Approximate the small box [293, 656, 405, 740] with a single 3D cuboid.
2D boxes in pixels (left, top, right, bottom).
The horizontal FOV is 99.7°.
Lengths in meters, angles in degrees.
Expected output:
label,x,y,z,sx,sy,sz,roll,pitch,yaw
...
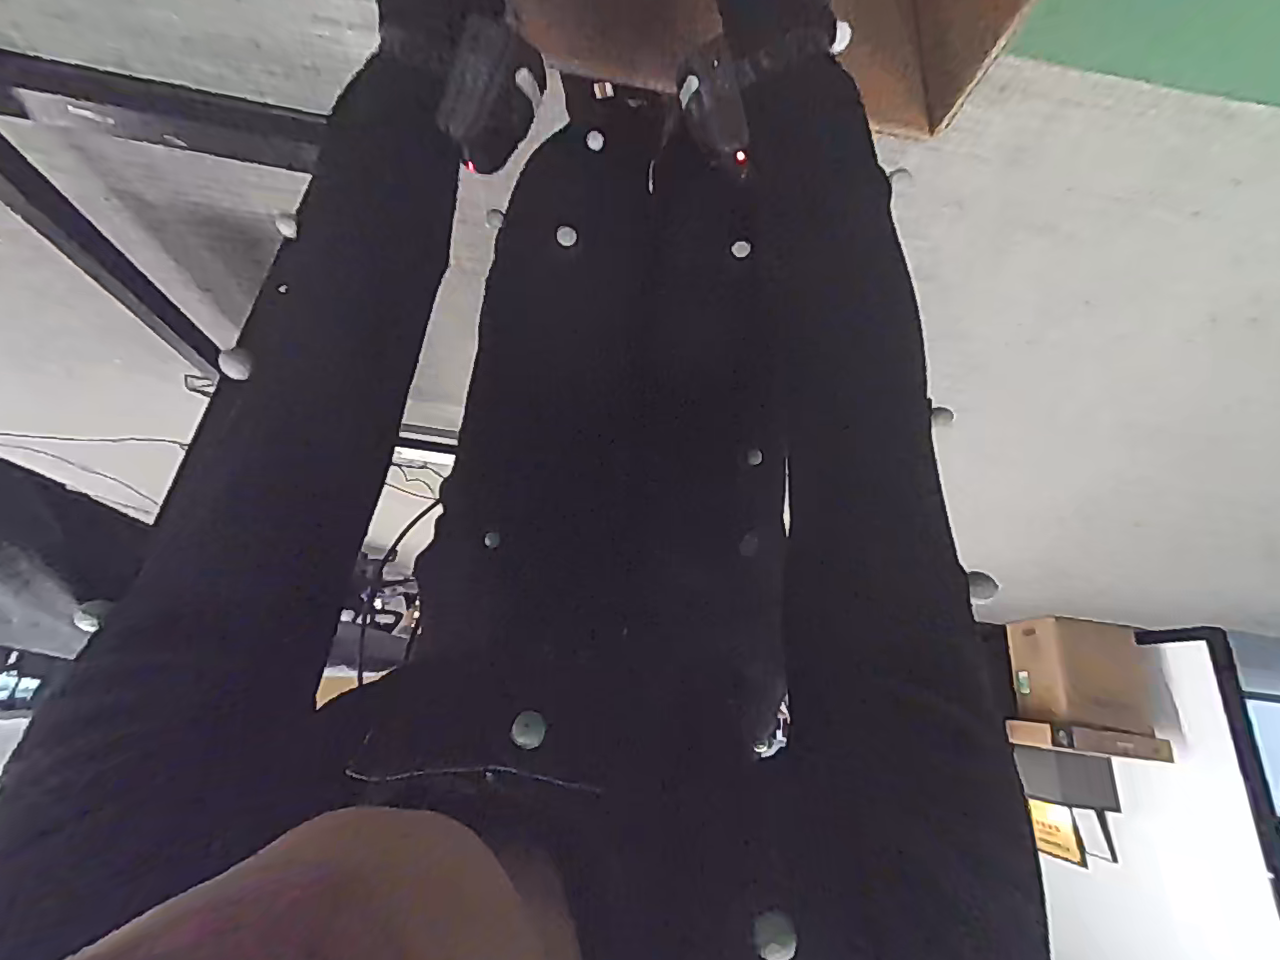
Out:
label,x,y,z,sx,sy,sz,roll,pitch,yaw
small box,-0.695,0.525,1.312,0.168,0.176,0.179,10,158,-3
